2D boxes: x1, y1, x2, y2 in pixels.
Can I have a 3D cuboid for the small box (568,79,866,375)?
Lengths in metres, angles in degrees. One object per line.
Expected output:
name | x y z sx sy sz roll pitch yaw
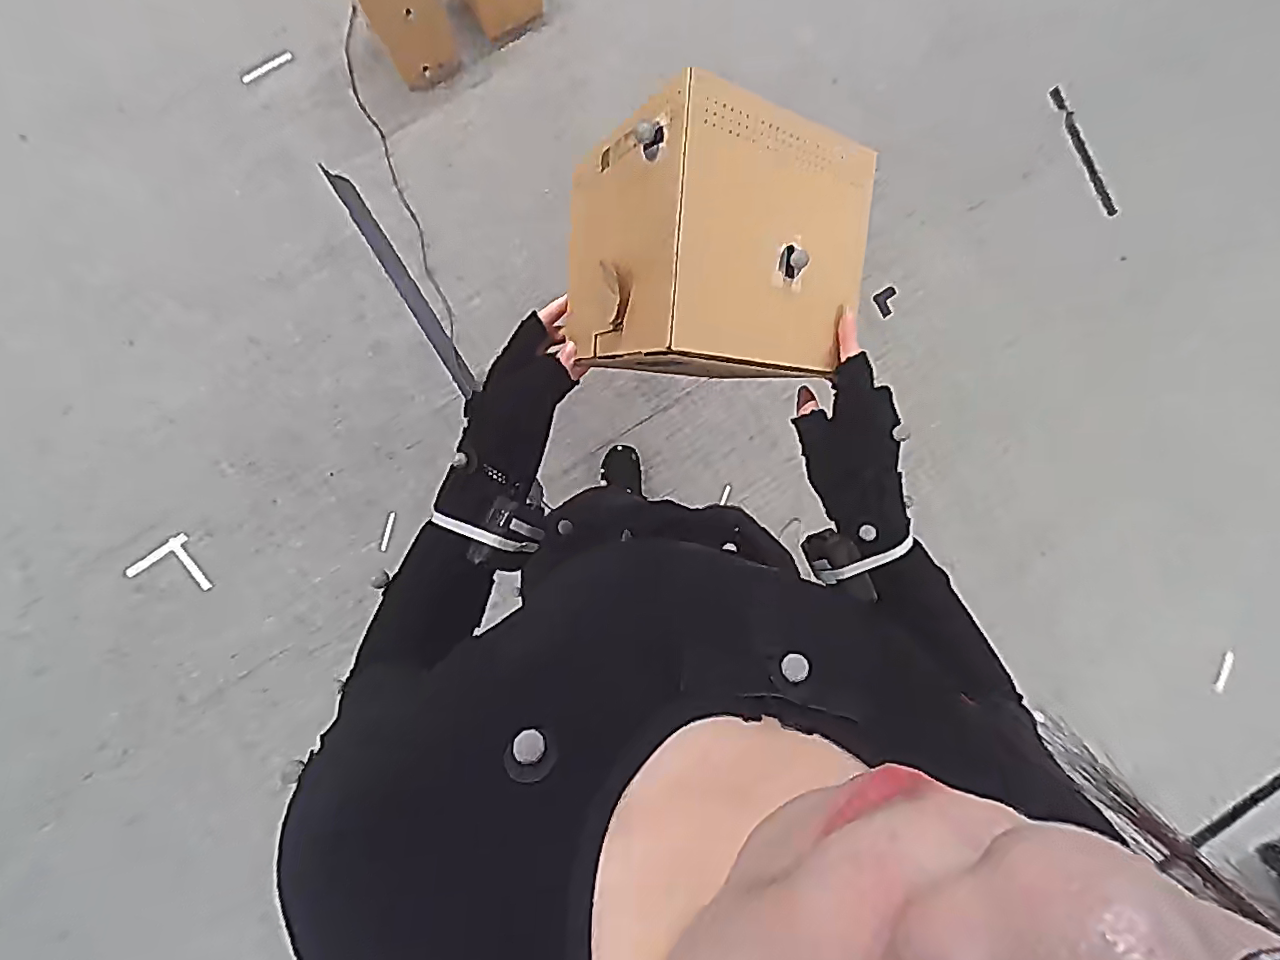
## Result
small box | 0.055 -0.179 0.436 0.179 0.168 0.176 -2 99 -31

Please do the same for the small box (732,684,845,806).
small box | 0.343 0.614 1.286 0.168 0.176 0.179 -33 96 -2

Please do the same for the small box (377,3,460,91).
small box | -0.568 -1.111 1.316 0.168 0.176 0.179 -32 96 -2

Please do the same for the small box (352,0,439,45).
small box | -0.554 -1.098 1.153 0.179 0.176 0.168 -32 94 -2

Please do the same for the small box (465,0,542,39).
small box | -0.359 -1.249 1.329 0.179 0.176 0.168 -30 95 -4
